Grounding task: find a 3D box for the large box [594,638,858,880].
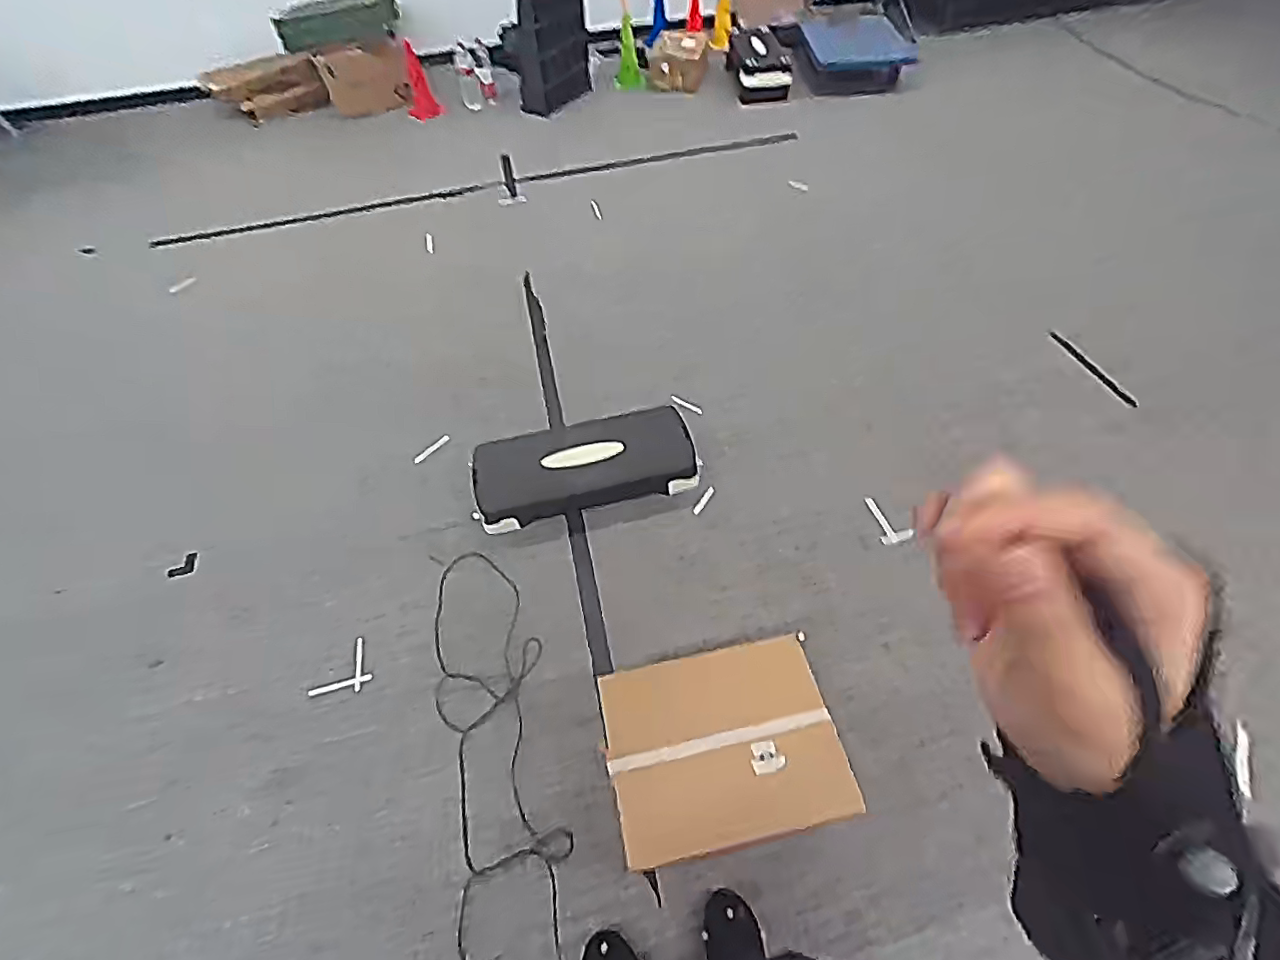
[{"bbox_3d":[0.140,0.557,1.074,0.408,0.320,0.320,-10,54,-6],"label":"large box"}]
